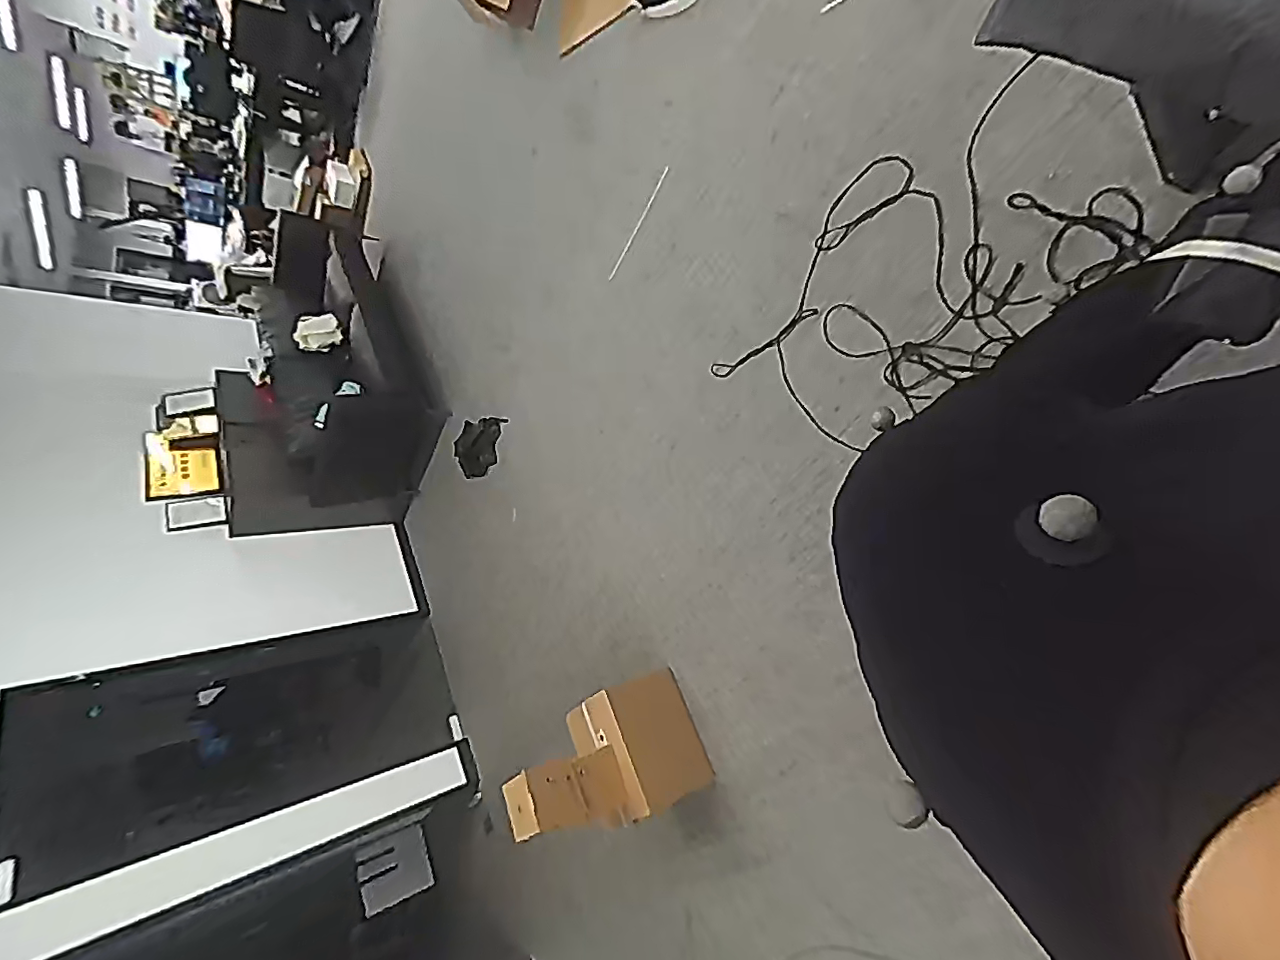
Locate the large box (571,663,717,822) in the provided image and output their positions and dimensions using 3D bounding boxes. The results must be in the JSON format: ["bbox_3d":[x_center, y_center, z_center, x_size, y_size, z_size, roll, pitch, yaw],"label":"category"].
[{"bbox_3d":[0.007,0.938,1.958,0.320,0.320,0.408,-47,57,39],"label":"large box"}]

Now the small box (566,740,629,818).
[{"bbox_3d":[-0.159,0.983,1.782,0.168,0.176,0.179,-41,62,43],"label":"small box"}]

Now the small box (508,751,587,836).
[{"bbox_3d":[-0.283,0.969,1.678,0.179,0.176,0.168,-51,54,40],"label":"small box"}]
